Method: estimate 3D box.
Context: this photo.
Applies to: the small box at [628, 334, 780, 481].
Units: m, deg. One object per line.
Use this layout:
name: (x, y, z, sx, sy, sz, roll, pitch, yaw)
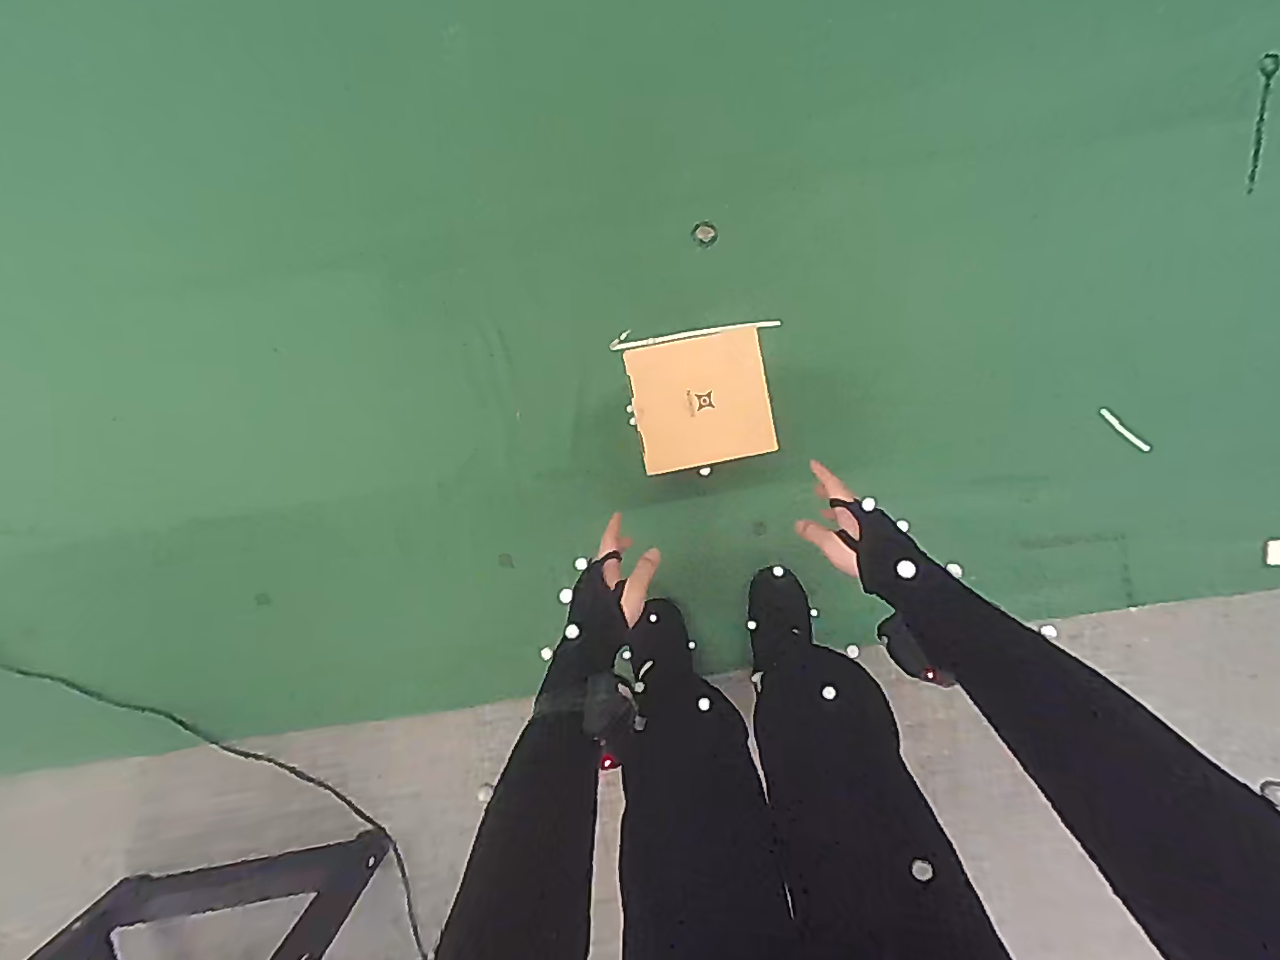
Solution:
small box: (0.085, -0.101, 0.779, 0.179, 0.176, 0.168, -12, 94, 3)
